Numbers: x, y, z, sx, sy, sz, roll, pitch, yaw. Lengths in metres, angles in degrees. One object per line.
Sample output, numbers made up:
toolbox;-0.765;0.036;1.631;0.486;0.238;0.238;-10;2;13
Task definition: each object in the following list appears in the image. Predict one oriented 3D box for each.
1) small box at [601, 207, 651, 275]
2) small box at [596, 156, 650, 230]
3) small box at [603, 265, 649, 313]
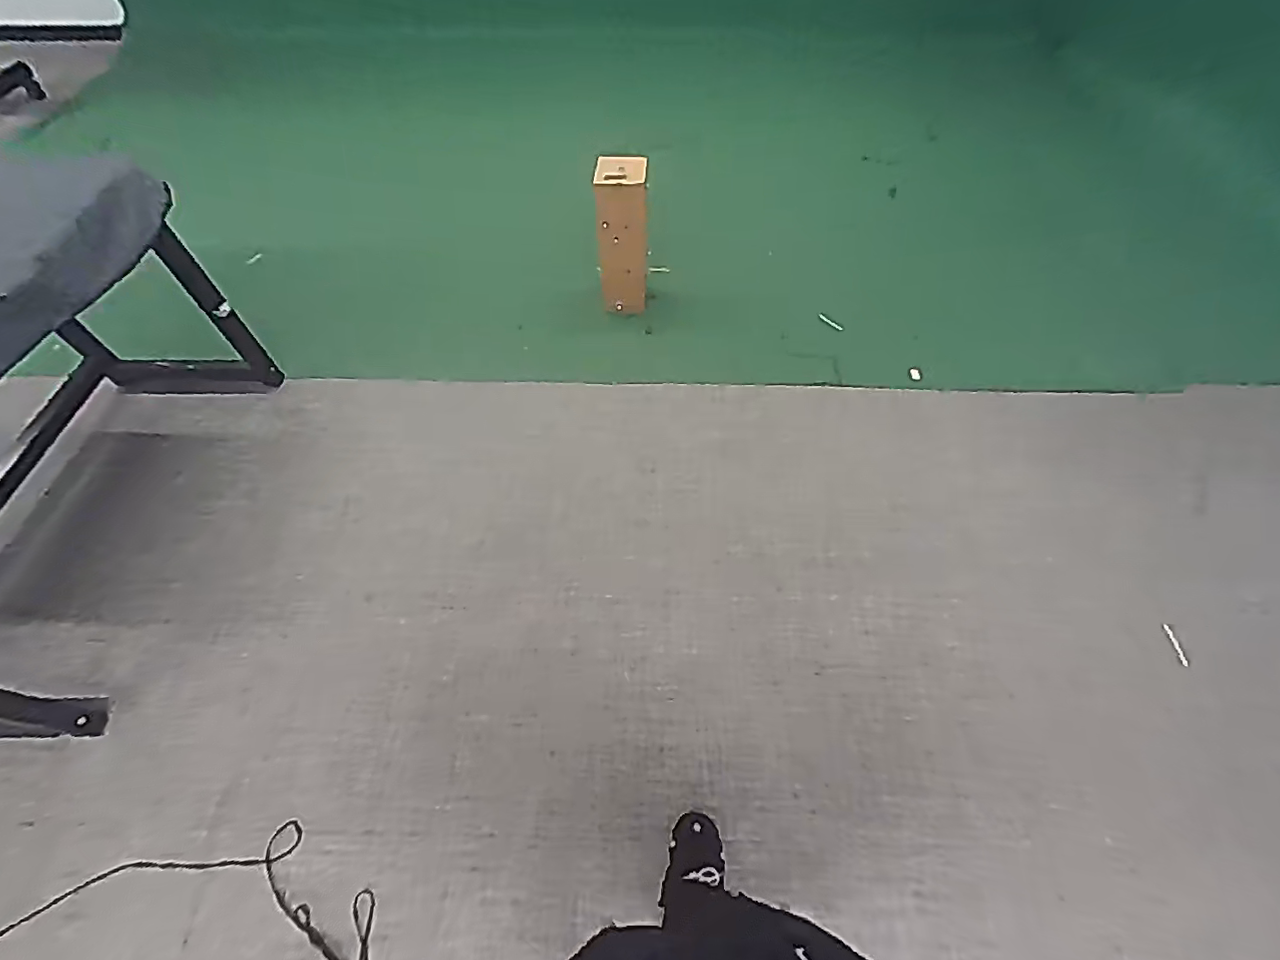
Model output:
small box;-0.048;-0.869;1.958;0.168;0.176;0.179;3;56;3
small box;-0.052;-0.966;1.824;0.168;0.176;0.179;3;55;3
small box;-0.050;-0.775;2.092;0.168;0.176;0.179;2;58;3
